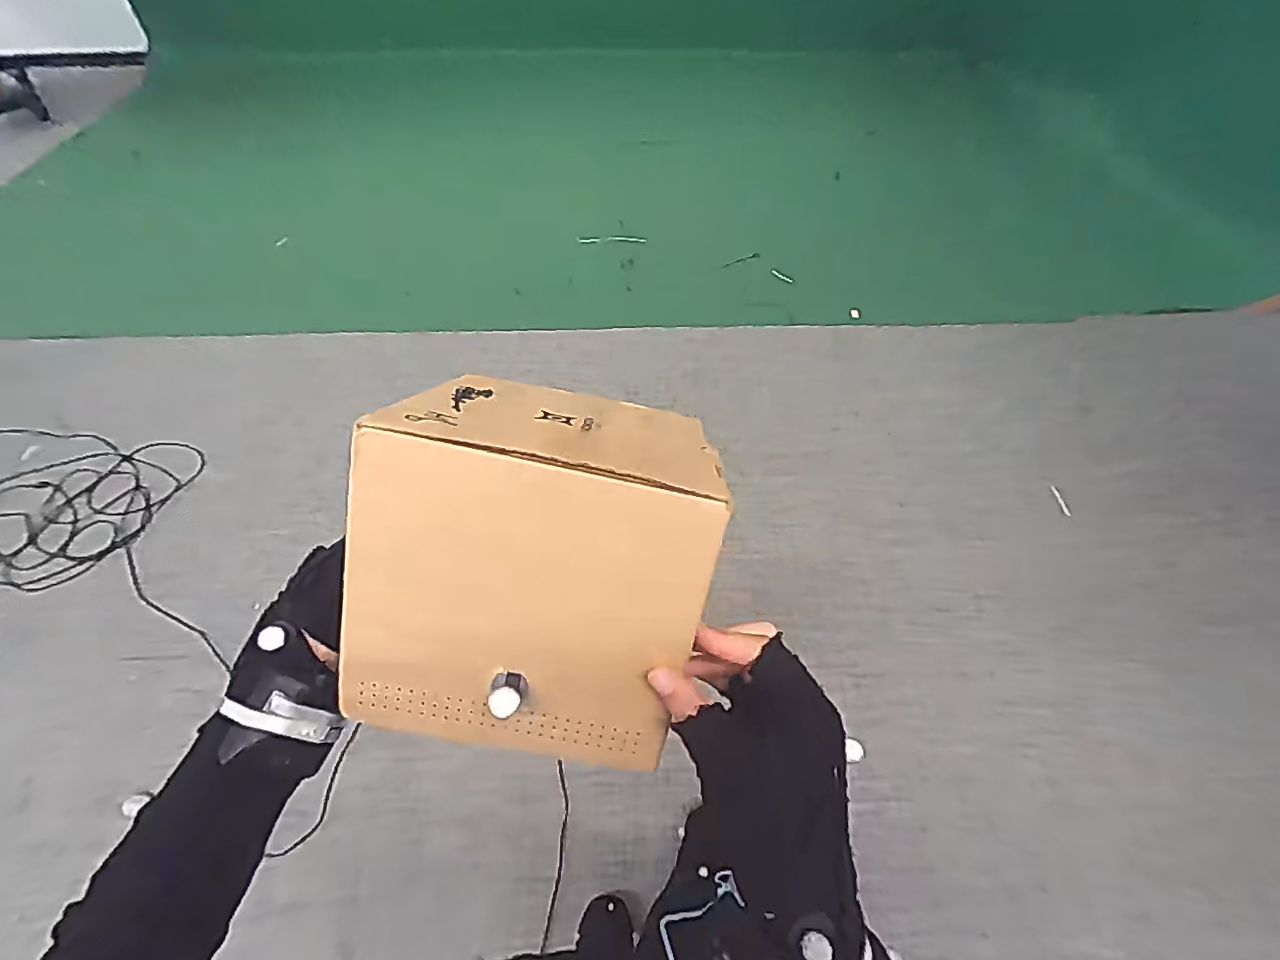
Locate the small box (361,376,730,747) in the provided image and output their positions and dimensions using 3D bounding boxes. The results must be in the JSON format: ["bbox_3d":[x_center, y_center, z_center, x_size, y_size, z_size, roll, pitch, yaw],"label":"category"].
[{"bbox_3d":[-0.056,0.042,0.356,0.179,0.176,0.168,12,16,-3],"label":"small box"}]
